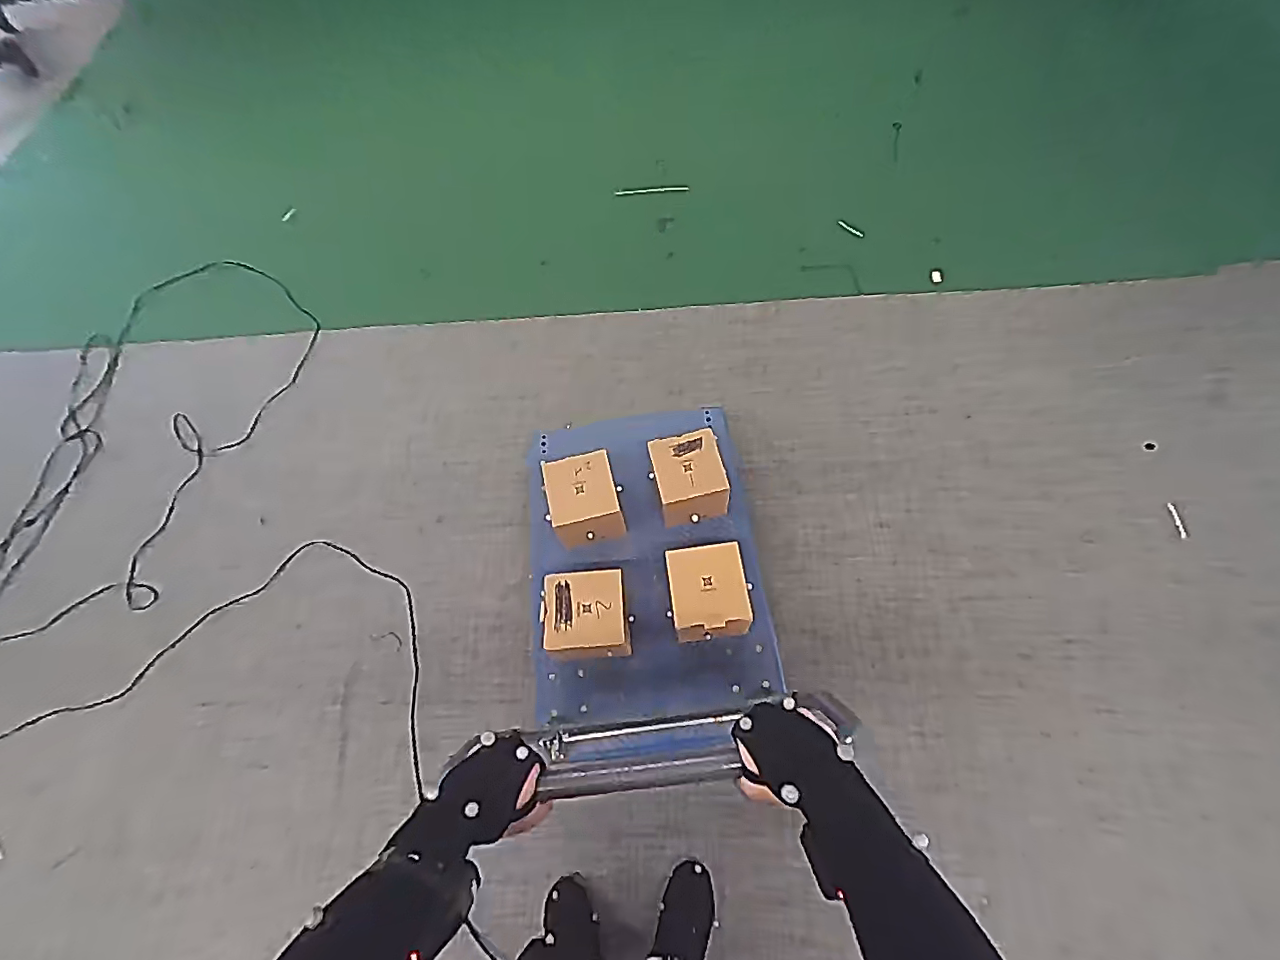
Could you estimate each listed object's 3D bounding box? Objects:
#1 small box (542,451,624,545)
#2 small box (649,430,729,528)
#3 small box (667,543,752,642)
[{"bbox_3d":[-0.140,0.054,1.377,0.168,0.176,0.179,-13,64,-3],"label":"small box"},{"bbox_3d":[0.121,0.000,1.380,0.168,0.176,0.179,-13,65,-1],"label":"small box"},{"bbox_3d":[0.153,0.263,1.251,0.168,0.176,0.179,-8,64,1],"label":"small box"}]
